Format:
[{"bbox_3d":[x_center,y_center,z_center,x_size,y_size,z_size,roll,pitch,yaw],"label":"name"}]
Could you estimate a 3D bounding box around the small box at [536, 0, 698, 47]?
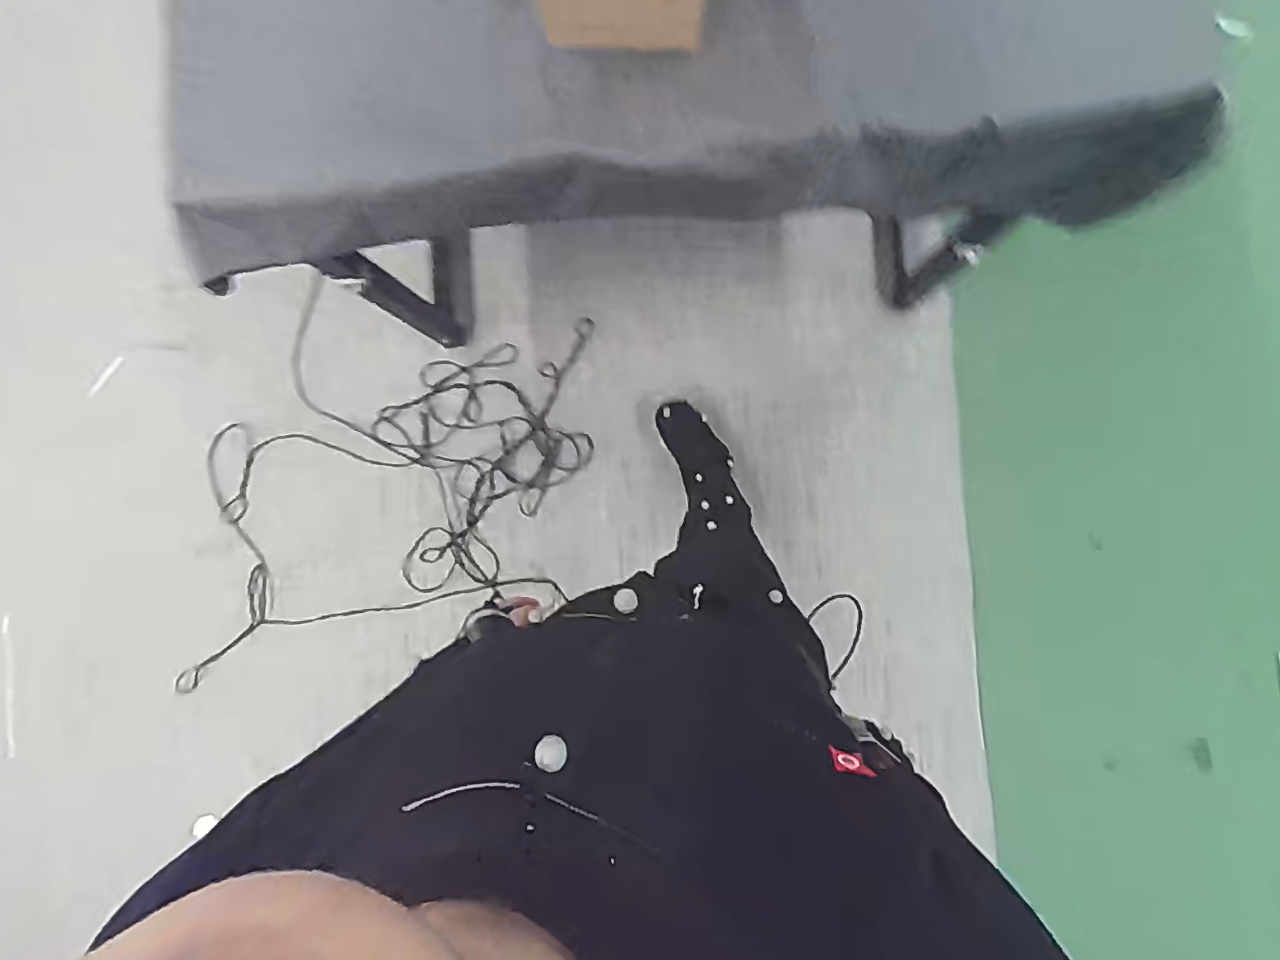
[{"bbox_3d":[-0.022,-0.587,0.553,0.179,0.176,0.168,4,87,6],"label":"small box"}]
